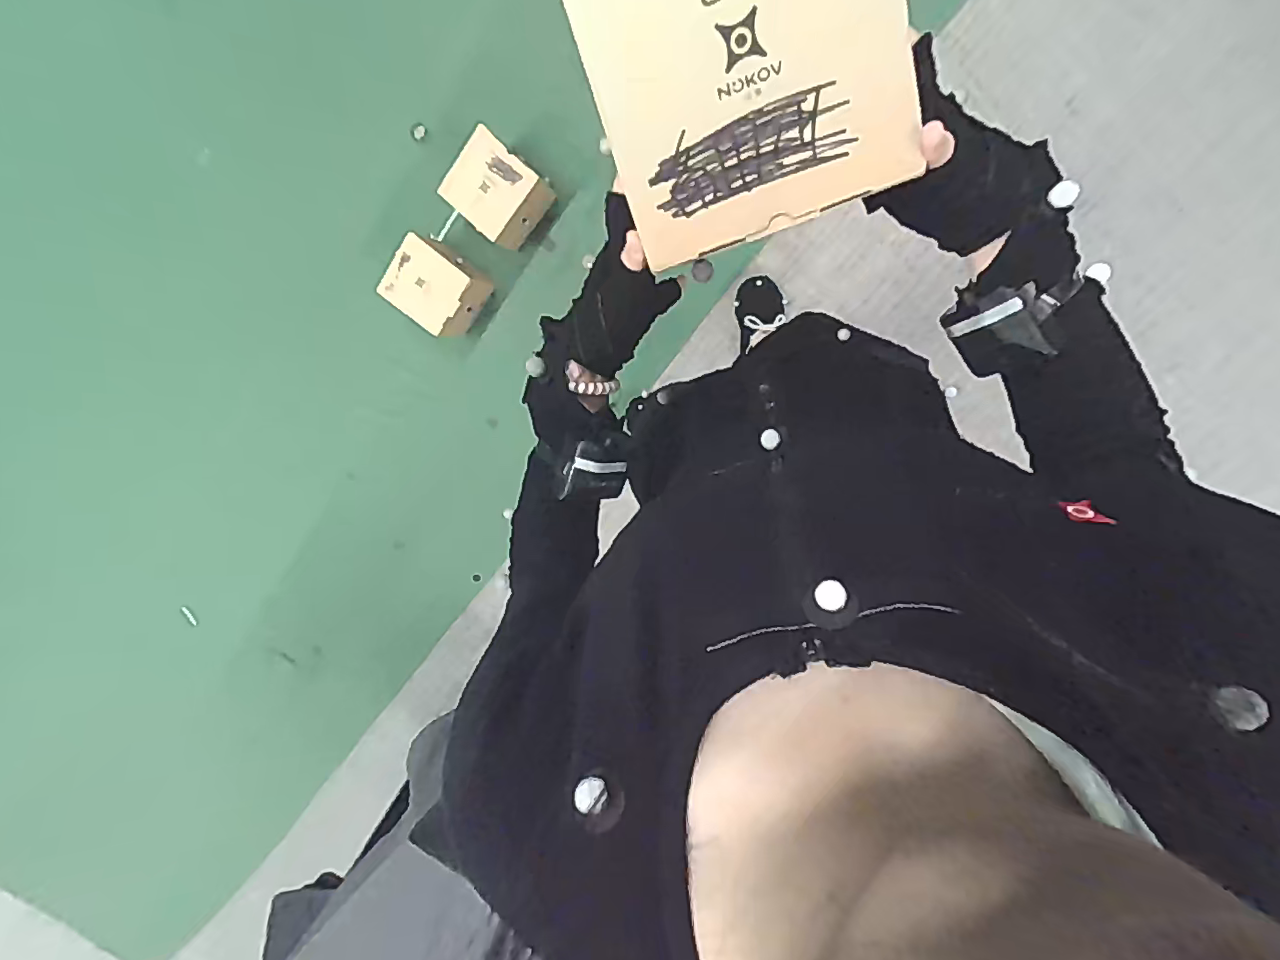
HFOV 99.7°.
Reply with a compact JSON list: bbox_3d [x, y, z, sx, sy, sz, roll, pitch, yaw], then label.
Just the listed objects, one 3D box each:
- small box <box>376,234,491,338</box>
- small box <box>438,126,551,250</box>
[{"bbox_3d":[-0.496,-0.473,1.329,0.179,0.176,0.168,38,106,-7],"label":"small box"},{"bbox_3d":[-0.326,-0.666,1.257,0.168,0.176,0.179,41,106,-7],"label":"small box"}]
